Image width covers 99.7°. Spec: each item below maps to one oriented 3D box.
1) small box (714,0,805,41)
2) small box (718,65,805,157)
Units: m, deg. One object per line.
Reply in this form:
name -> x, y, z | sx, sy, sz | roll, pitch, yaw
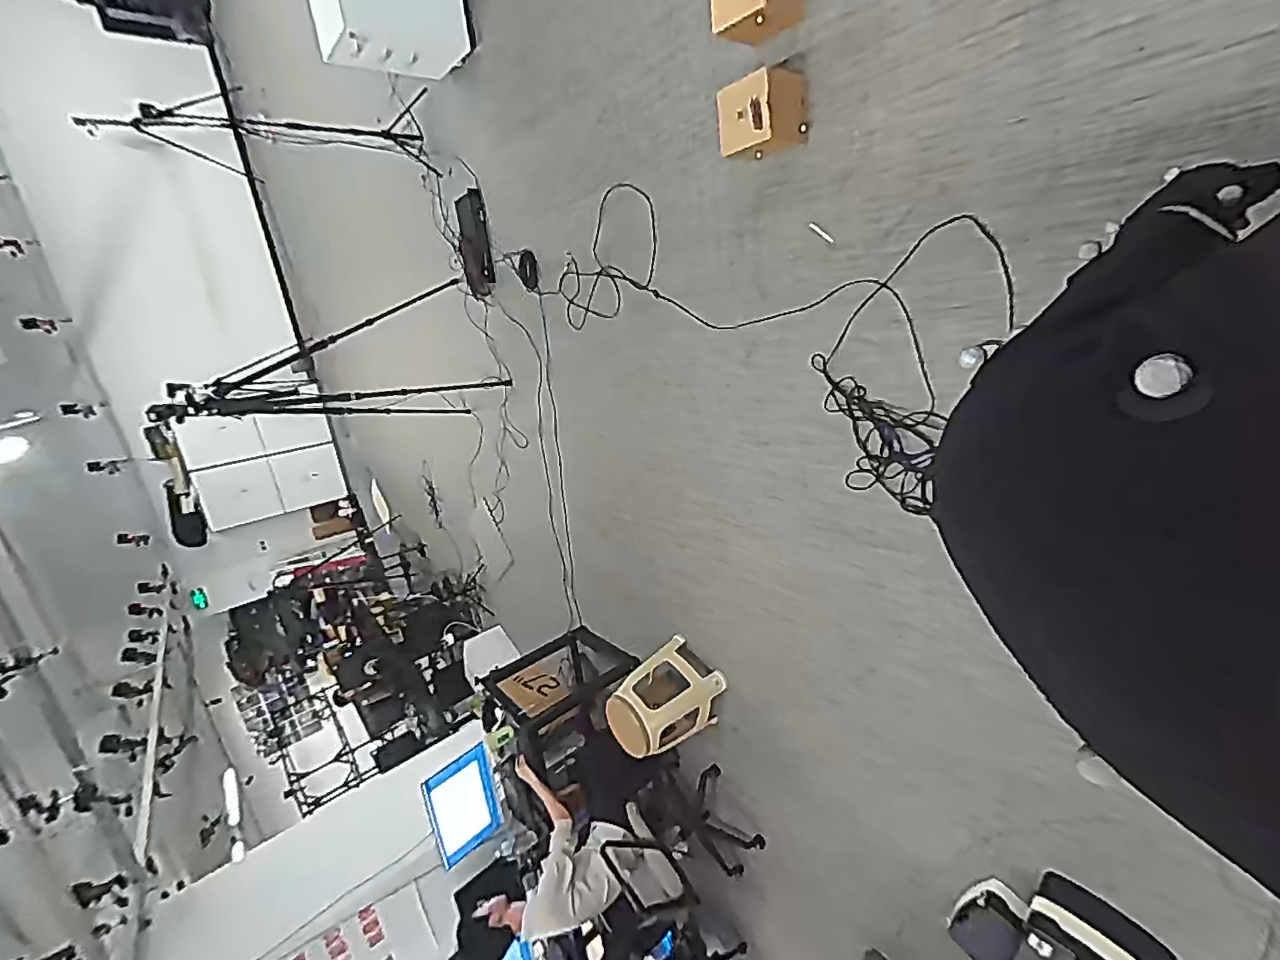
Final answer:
small box -> 0.310, -1.288, 1.411 | 0.179, 0.176, 0.168 | 15, 118, 48
small box -> 0.342, -1.012, 1.497 | 0.179, 0.176, 0.168 | 14, 117, 49
